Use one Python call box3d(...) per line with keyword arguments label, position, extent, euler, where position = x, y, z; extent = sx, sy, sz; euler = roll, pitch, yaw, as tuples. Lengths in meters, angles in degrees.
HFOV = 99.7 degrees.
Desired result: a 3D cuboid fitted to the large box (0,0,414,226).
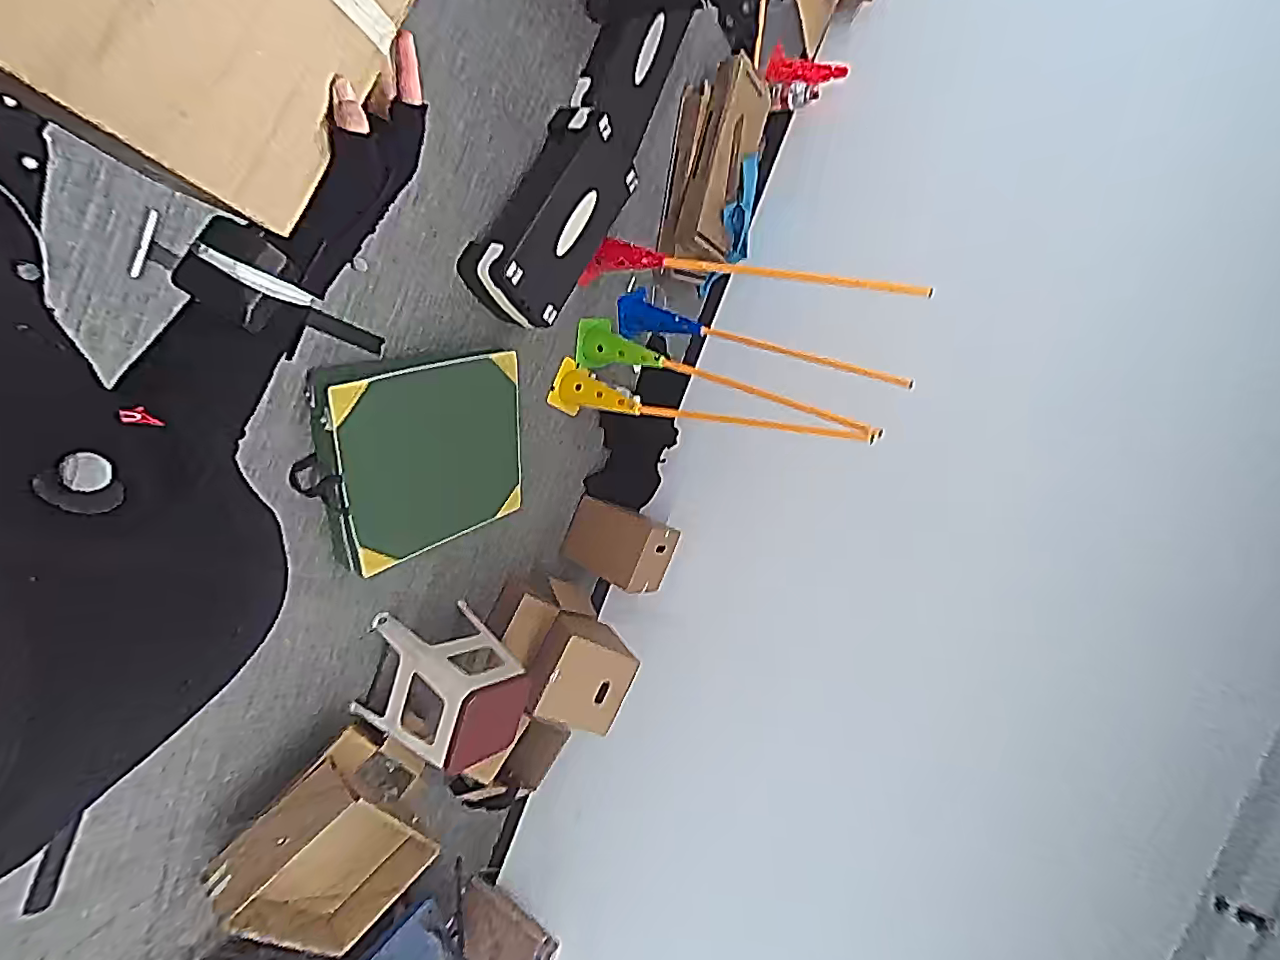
box3d(label="large box", position=(-0.392, -0.424, 0.312), extent=(0.408, 0.320, 0.320), euler=(27, 92, -57))
